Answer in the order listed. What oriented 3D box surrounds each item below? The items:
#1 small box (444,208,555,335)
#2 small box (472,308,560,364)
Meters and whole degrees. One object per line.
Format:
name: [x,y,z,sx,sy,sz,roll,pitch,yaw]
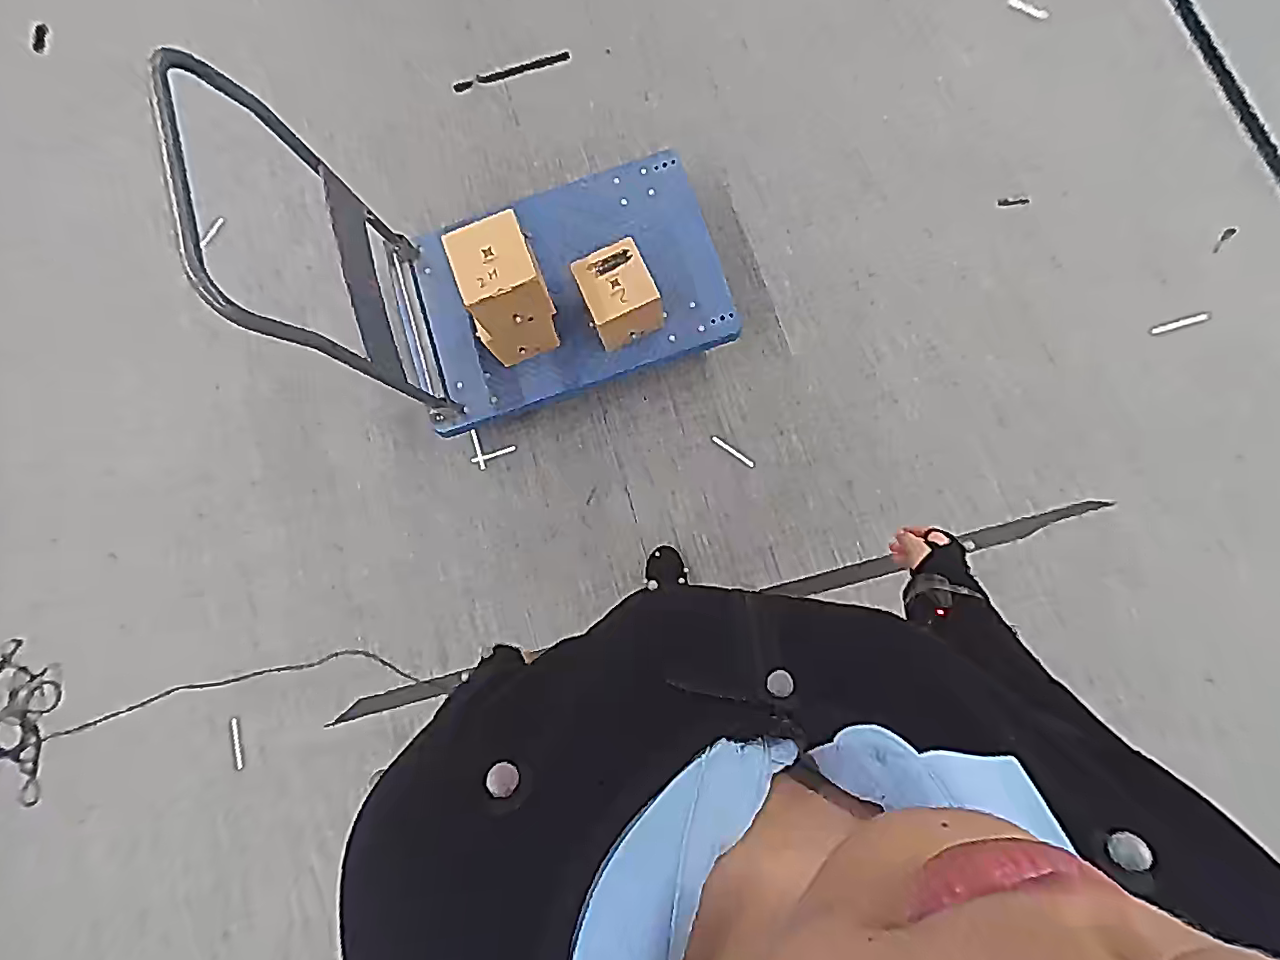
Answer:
small box: [-0.307,-0.455,1.205,0.168,0.176,0.179,-21,81,1]
small box: [-0.319,-0.422,1.368,0.168,0.176,0.179,-22,81,1]
